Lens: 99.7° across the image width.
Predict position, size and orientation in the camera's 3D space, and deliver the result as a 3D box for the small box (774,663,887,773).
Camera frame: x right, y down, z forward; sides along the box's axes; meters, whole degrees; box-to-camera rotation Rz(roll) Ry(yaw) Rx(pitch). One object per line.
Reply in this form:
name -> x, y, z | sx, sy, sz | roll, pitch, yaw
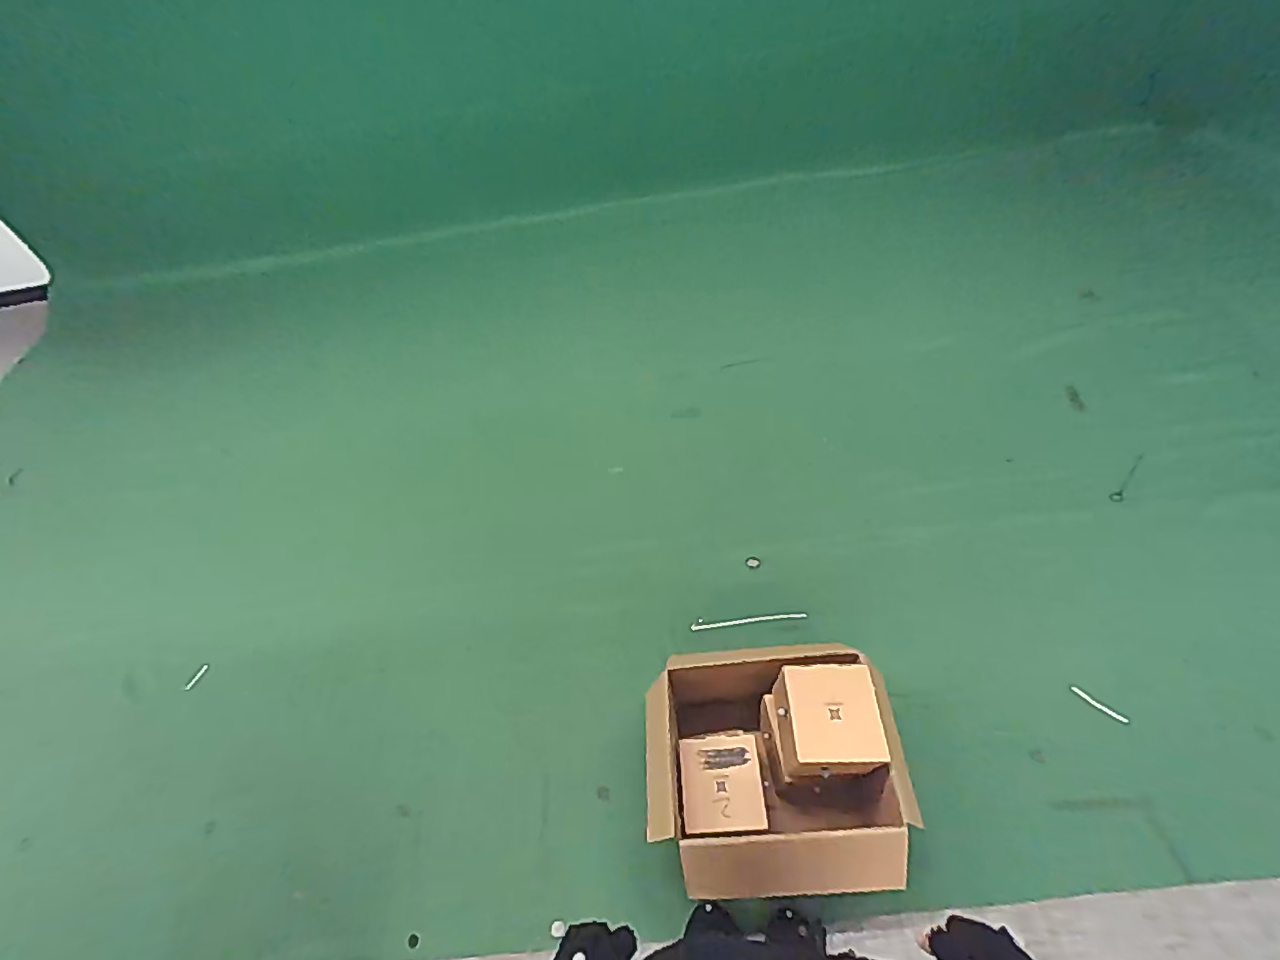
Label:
small box -> 0.366, 0.477, 1.076 | 0.168, 0.176, 0.179 | -3, 53, 4
